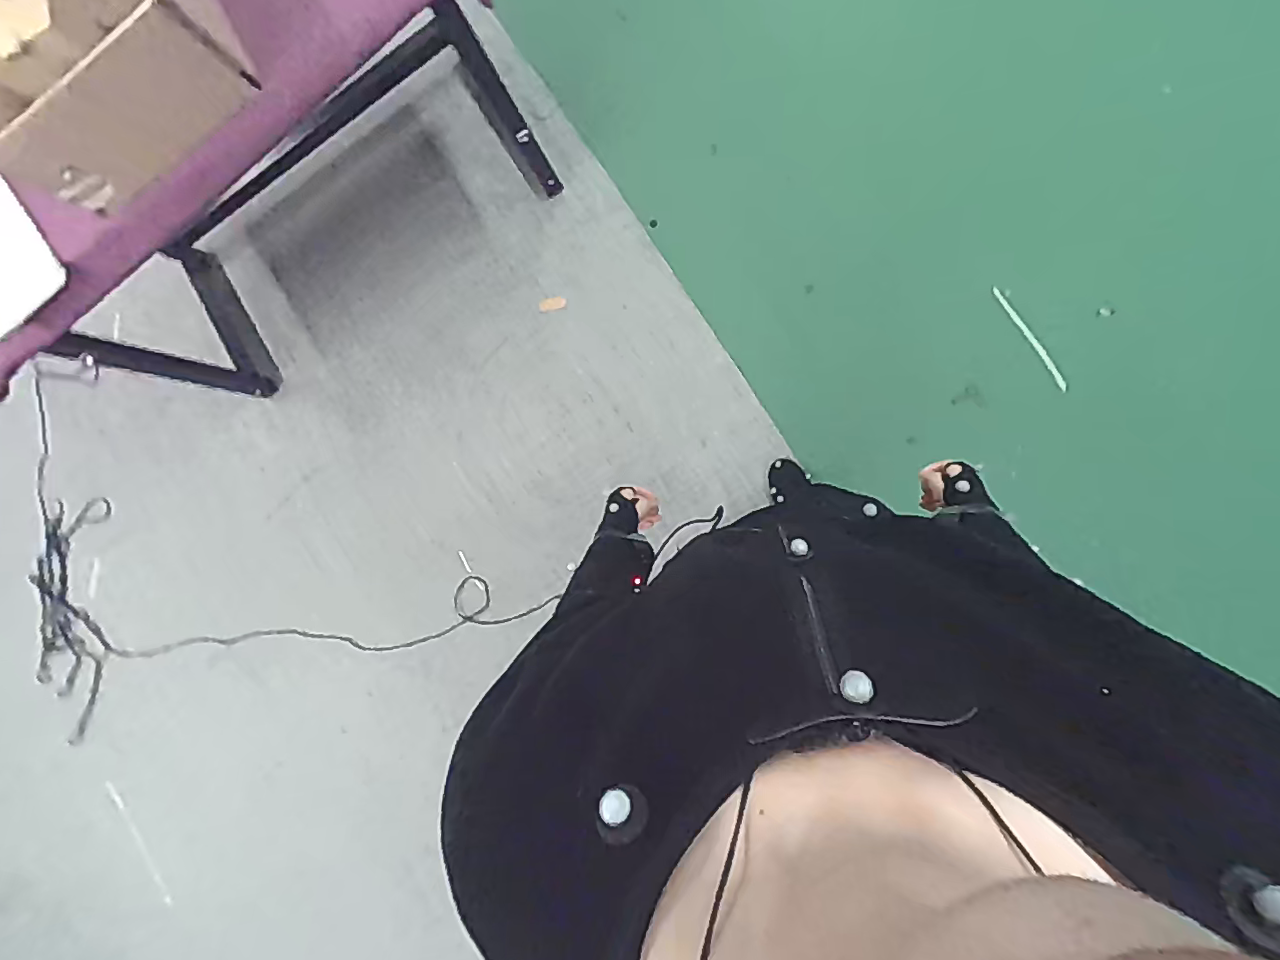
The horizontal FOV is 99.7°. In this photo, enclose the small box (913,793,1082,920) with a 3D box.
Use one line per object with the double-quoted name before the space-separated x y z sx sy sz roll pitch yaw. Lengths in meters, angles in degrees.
"small box" 0.659 0.744 1.025 0.179 0.176 0.168 -43 81 7
